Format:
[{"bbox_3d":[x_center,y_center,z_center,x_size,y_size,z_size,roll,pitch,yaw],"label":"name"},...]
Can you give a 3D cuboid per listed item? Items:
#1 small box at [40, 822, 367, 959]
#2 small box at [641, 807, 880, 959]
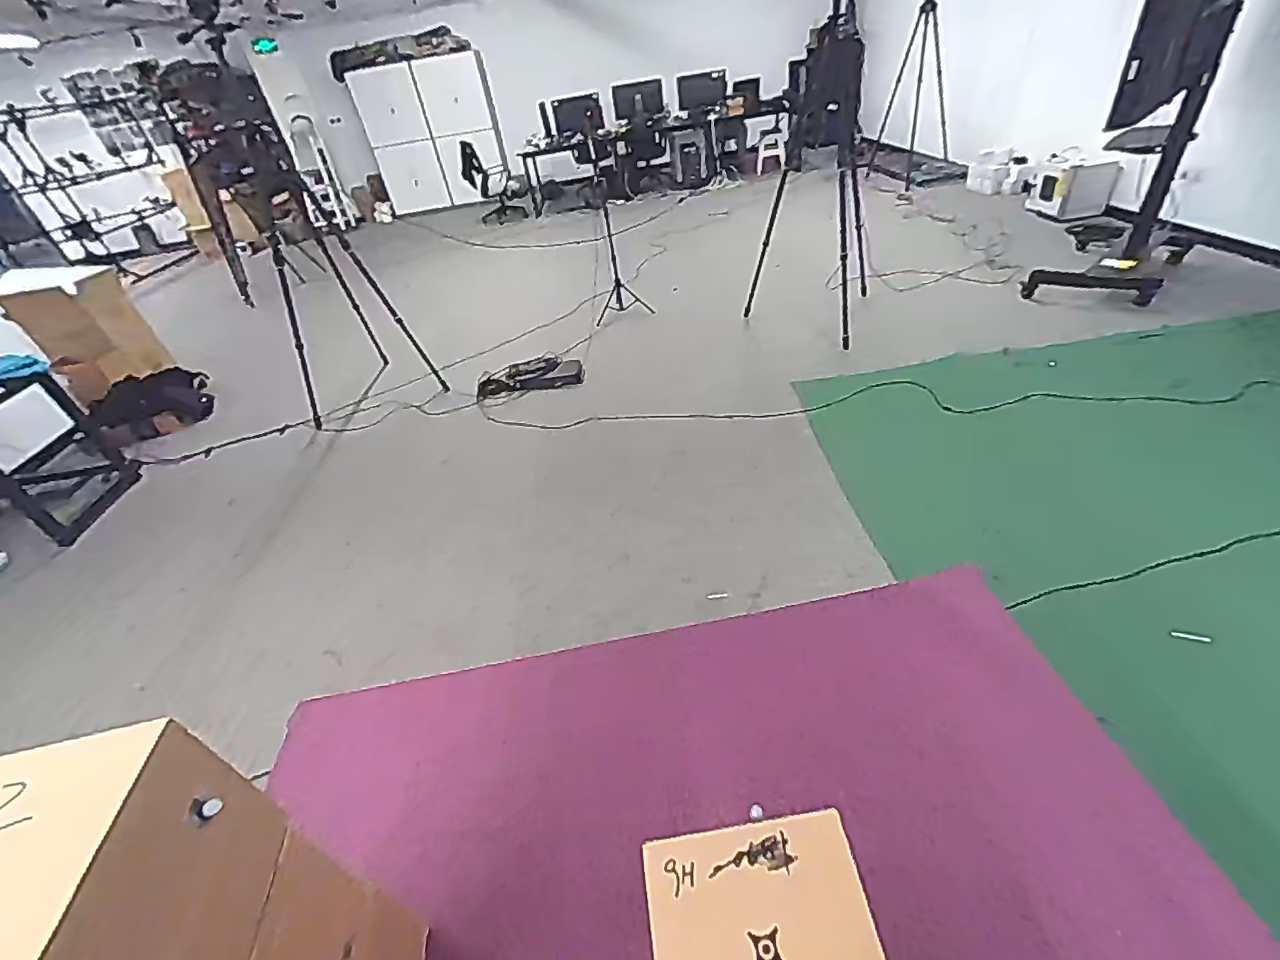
[{"bbox_3d":[-0.366,0.427,0.454,0.179,0.176,0.168,-11,38,-5],"label":"small box"},{"bbox_3d":[0.103,0.396,0.454,0.168,0.176,0.179,-11,51,2],"label":"small box"}]
